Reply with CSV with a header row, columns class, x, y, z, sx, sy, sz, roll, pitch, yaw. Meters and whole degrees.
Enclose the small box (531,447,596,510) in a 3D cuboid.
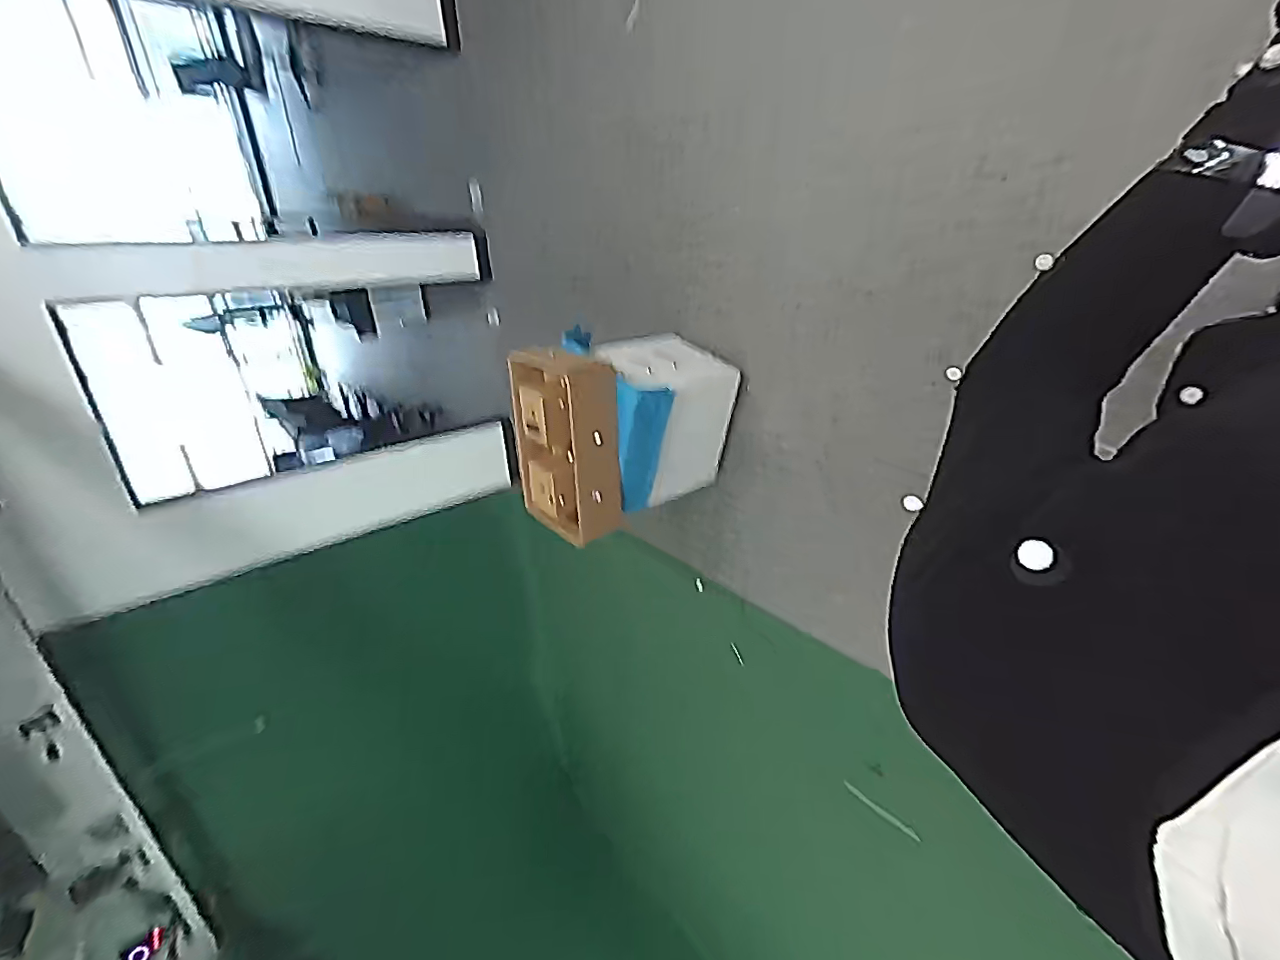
class,x,y,z,sx,sy,sz,roll,pitch,yaw
small box,-0.276,-0.012,1.958,0.179,0.176,0.168,27,126,47
